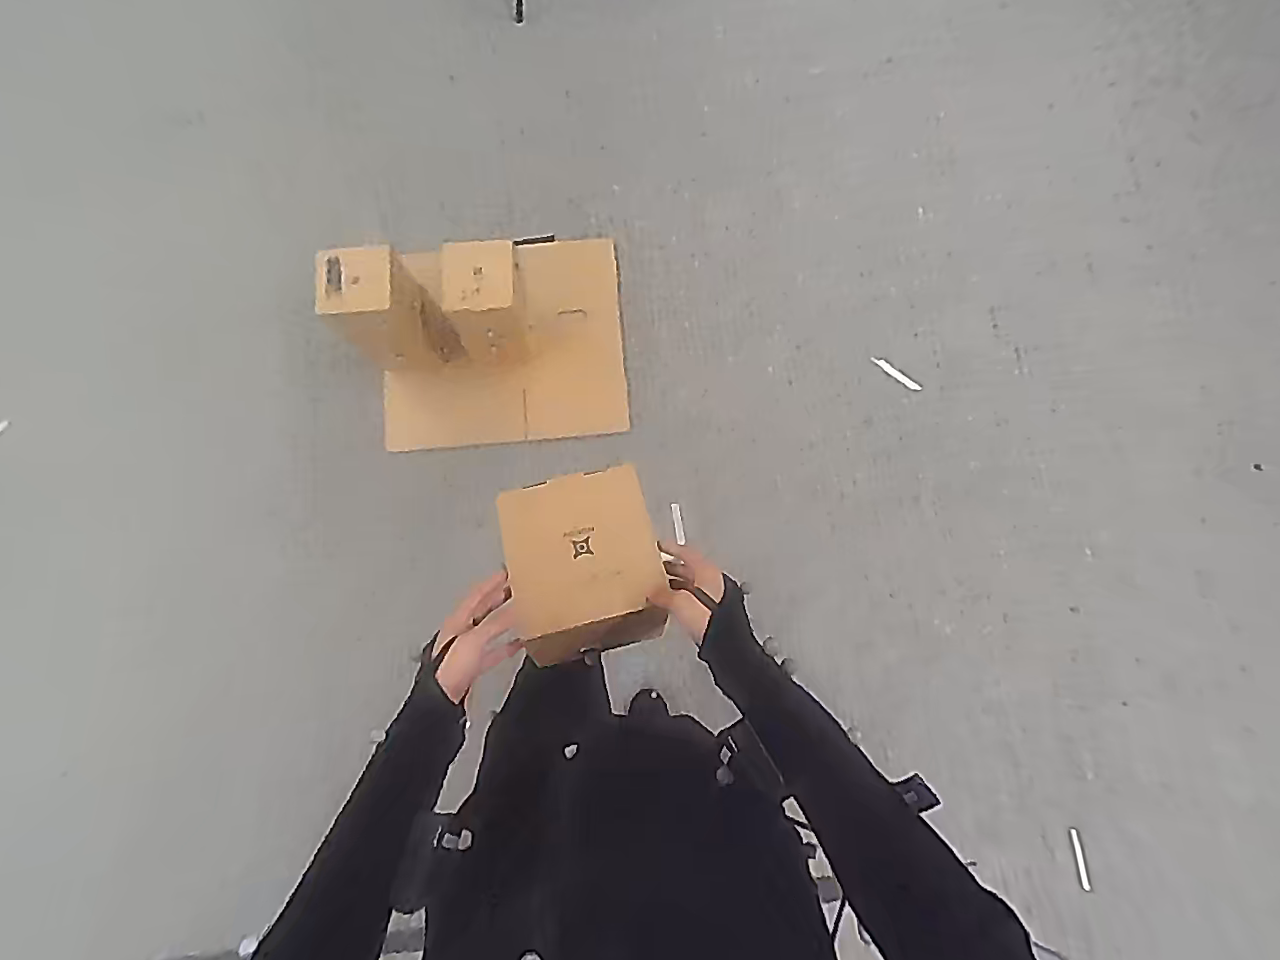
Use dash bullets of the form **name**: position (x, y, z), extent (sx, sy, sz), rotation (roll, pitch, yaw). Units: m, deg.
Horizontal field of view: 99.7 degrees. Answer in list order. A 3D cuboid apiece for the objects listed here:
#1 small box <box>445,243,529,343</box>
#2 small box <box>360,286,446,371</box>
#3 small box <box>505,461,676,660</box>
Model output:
- **small box**: position (-0.373, -0.459, 1.341), extent (0.168, 0.176, 0.179), rotation (-3, 81, -1)
- **small box**: position (-0.647, -0.414, 1.498), extent (0.179, 0.176, 0.168), rotation (-5, 80, 0)
- **small box**: position (-0.064, 0.104, 0.671), extent (0.168, 0.176, 0.179), rotation (-12, 62, -9)
